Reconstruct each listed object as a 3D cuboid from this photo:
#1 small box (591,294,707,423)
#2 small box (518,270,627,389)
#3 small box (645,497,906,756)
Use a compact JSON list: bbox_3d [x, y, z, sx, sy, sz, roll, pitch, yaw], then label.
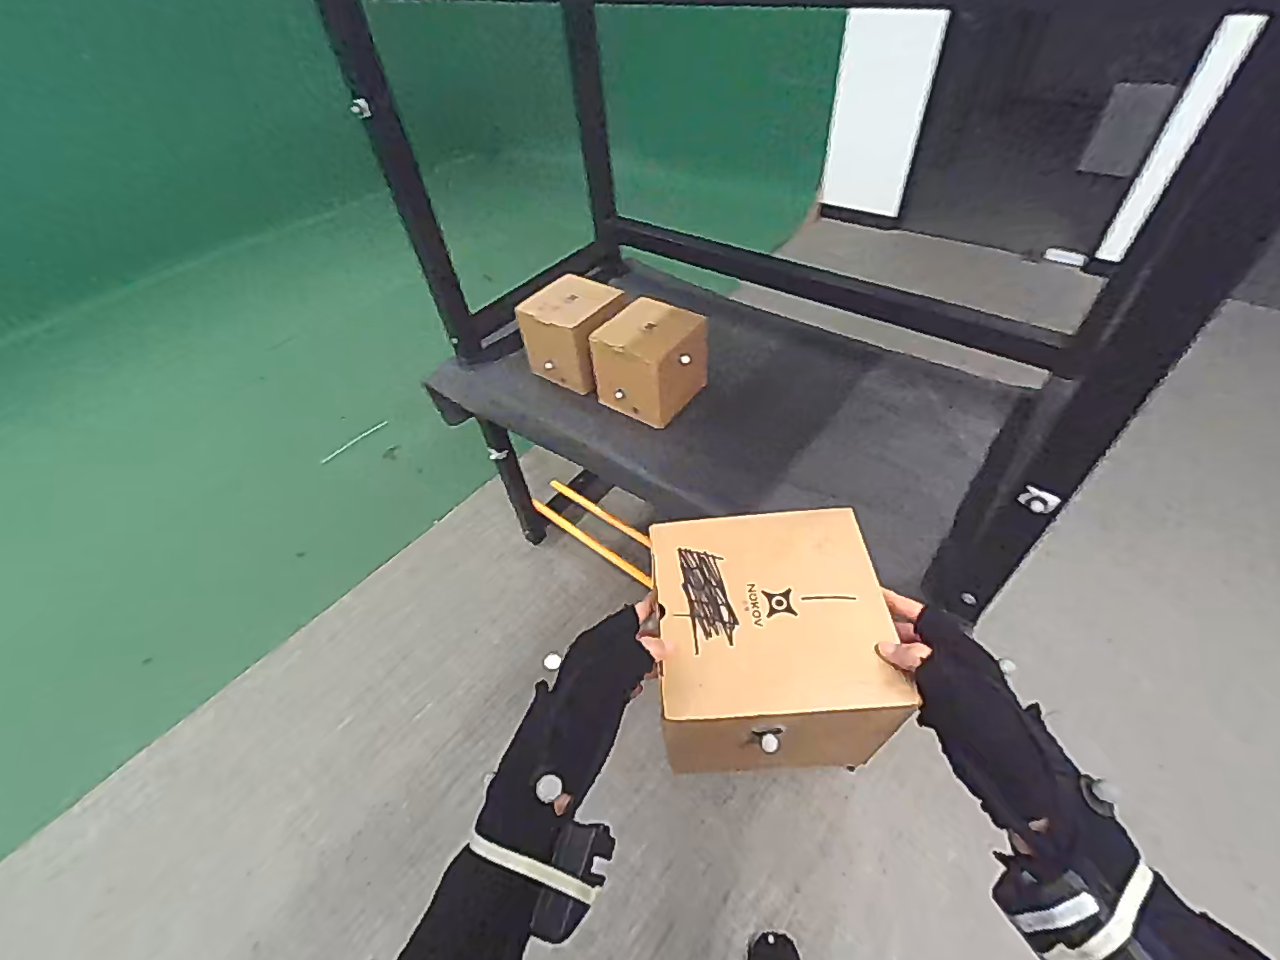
[{"bbox_3d":[0.022,-0.252,1.120,0.168,0.176,0.179,27,57,27],"label":"small box"},{"bbox_3d":[-0.141,-0.336,1.209,0.168,0.176,0.179,27,56,27],"label":"small box"},{"bbox_3d":[0.101,0.135,0.482,0.179,0.176,0.168,-5,50,2],"label":"small box"}]
